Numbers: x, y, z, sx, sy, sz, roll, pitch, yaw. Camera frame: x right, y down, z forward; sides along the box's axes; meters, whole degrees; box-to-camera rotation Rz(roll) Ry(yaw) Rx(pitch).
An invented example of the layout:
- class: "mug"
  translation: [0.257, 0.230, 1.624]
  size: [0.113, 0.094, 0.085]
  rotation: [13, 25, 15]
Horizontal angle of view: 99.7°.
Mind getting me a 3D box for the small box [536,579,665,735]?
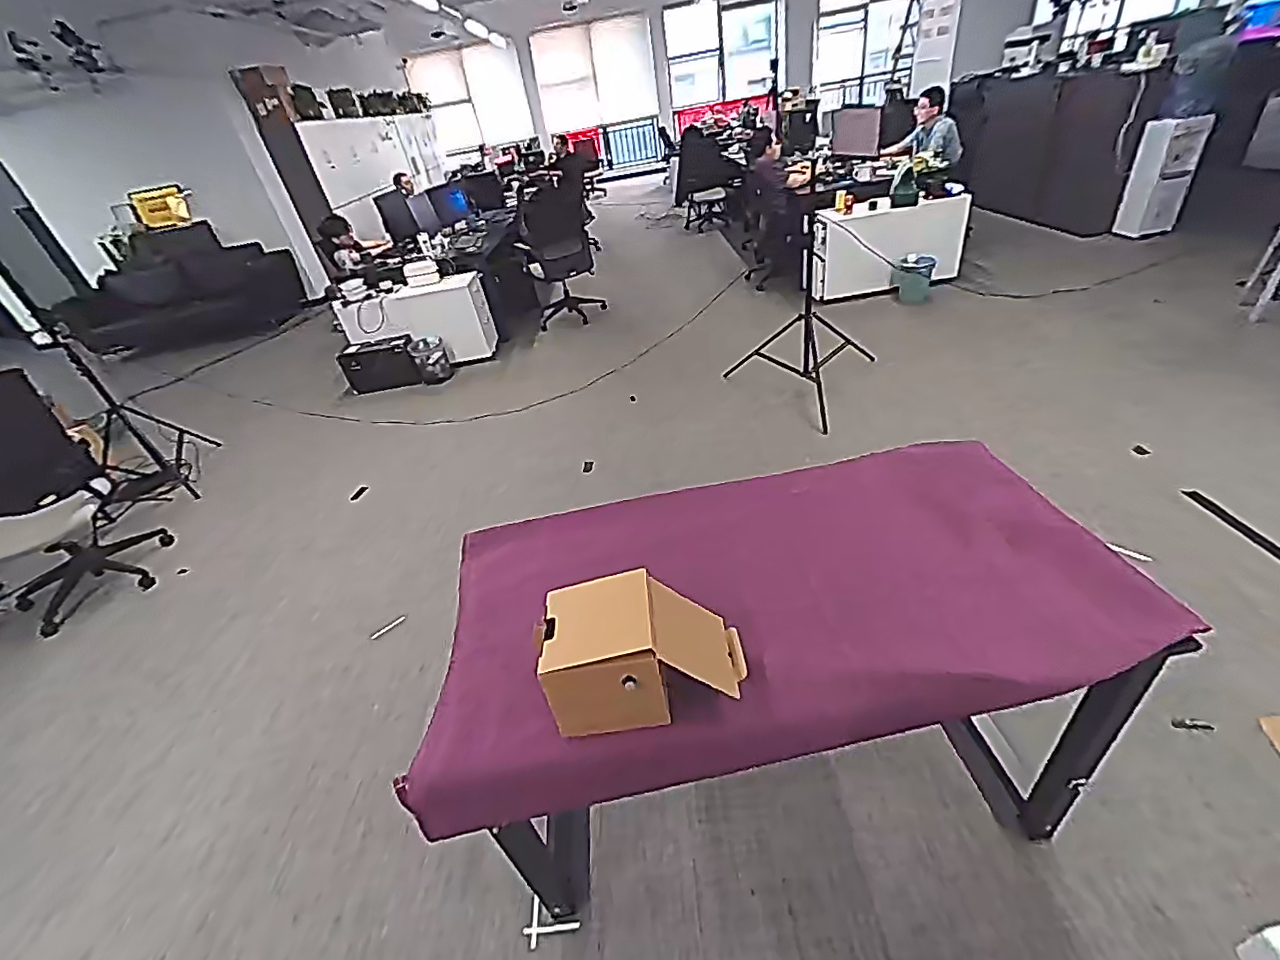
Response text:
- class: "small box"
  translation: [-0.055, 0.288, 0.881]
  size: [0.179, 0.176, 0.168]
  rotation: [-9, 33, 3]
